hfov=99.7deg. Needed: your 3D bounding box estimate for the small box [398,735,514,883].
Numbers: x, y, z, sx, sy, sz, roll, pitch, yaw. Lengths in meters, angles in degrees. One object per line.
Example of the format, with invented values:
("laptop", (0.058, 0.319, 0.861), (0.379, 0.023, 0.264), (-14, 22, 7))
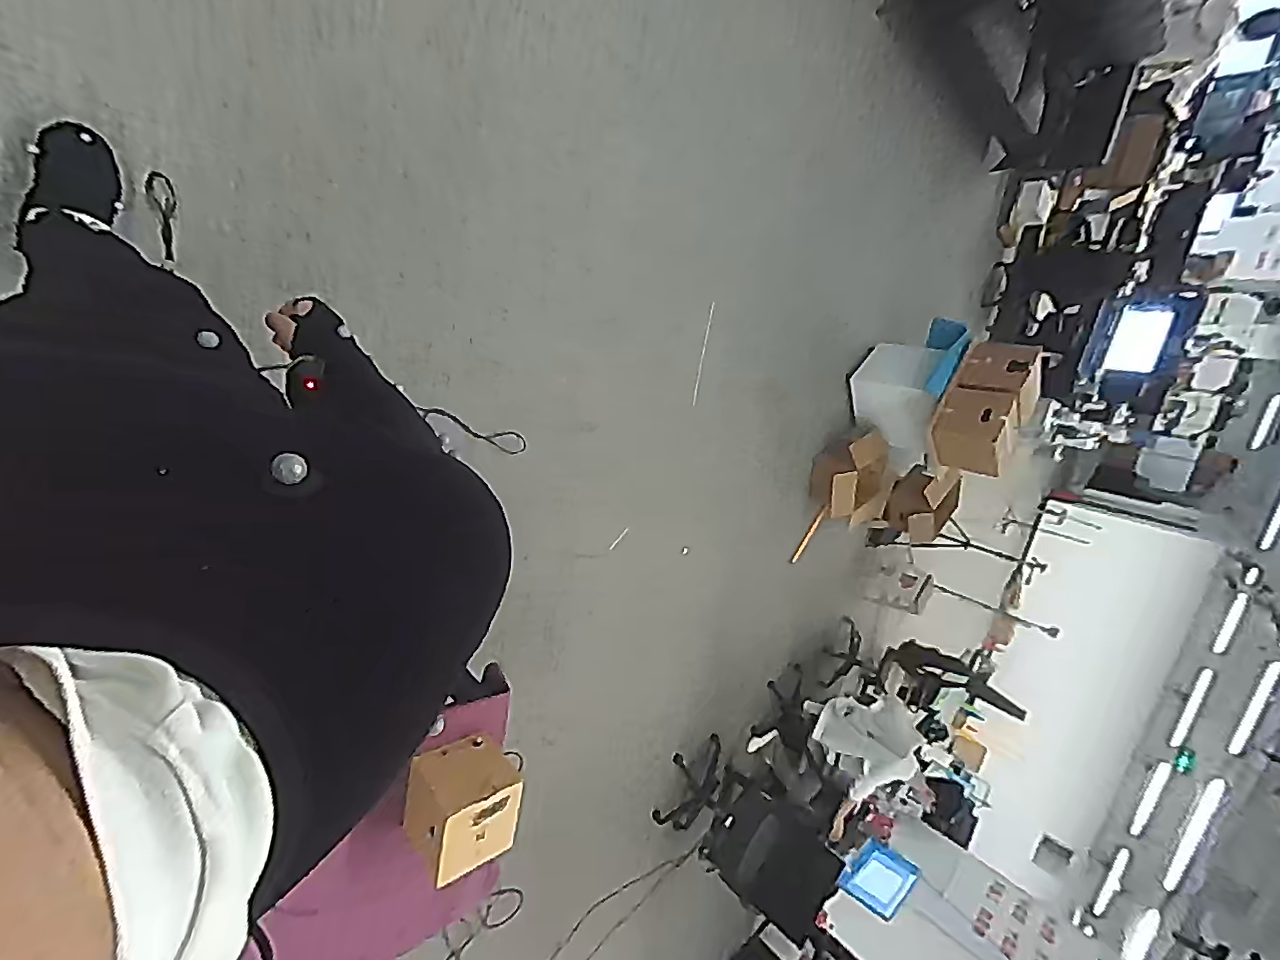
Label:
("small box", (-0.384, 0.660, 1.118), (0.168, 0.176, 0.179), (-1, 110, -44))
